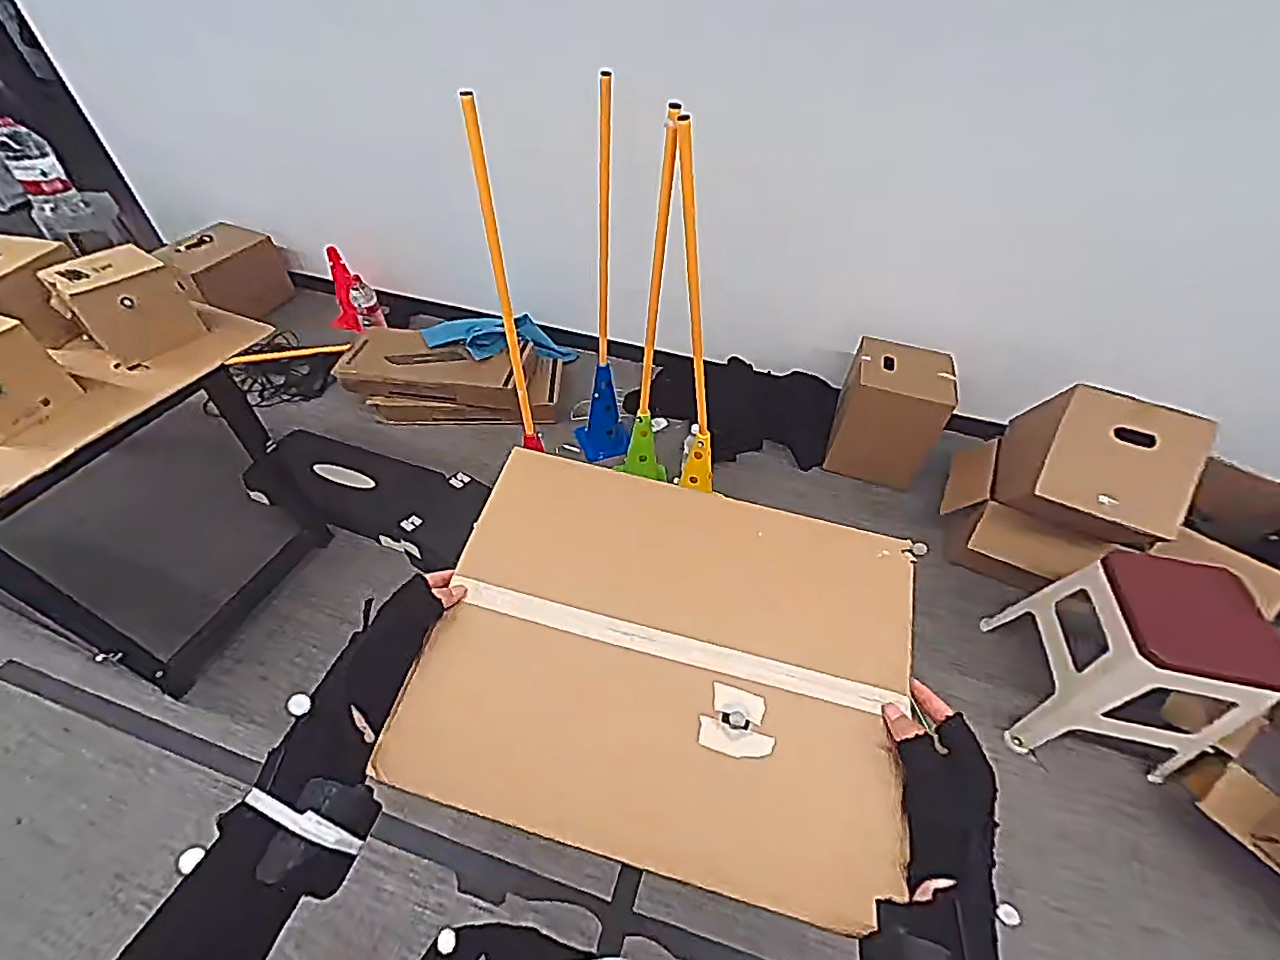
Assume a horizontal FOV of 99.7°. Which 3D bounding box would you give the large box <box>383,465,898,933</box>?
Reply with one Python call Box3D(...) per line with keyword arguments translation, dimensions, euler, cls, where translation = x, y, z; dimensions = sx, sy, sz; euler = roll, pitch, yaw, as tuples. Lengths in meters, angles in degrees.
Box3D(translation=(0.018, 0.228, 0.605), dimensions=(0.408, 0.320, 0.320), euler=(14, 61, 5), cls="large box")
